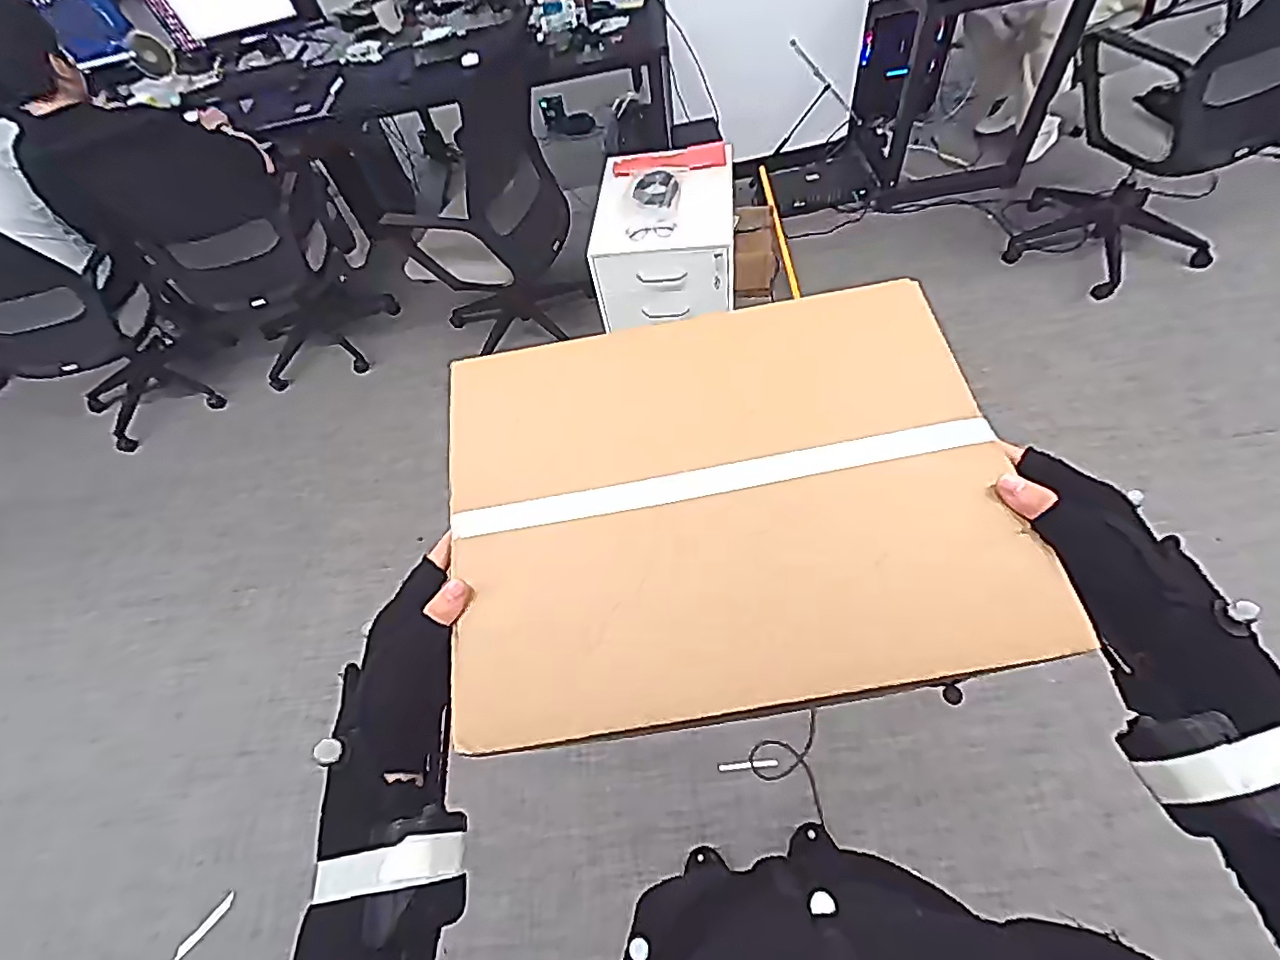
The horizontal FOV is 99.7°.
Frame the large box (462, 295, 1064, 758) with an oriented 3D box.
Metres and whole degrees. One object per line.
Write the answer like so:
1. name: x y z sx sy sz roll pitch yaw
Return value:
1. large box: 0.075 0.070 0.550 0.408 0.320 0.320 -10 64 2
